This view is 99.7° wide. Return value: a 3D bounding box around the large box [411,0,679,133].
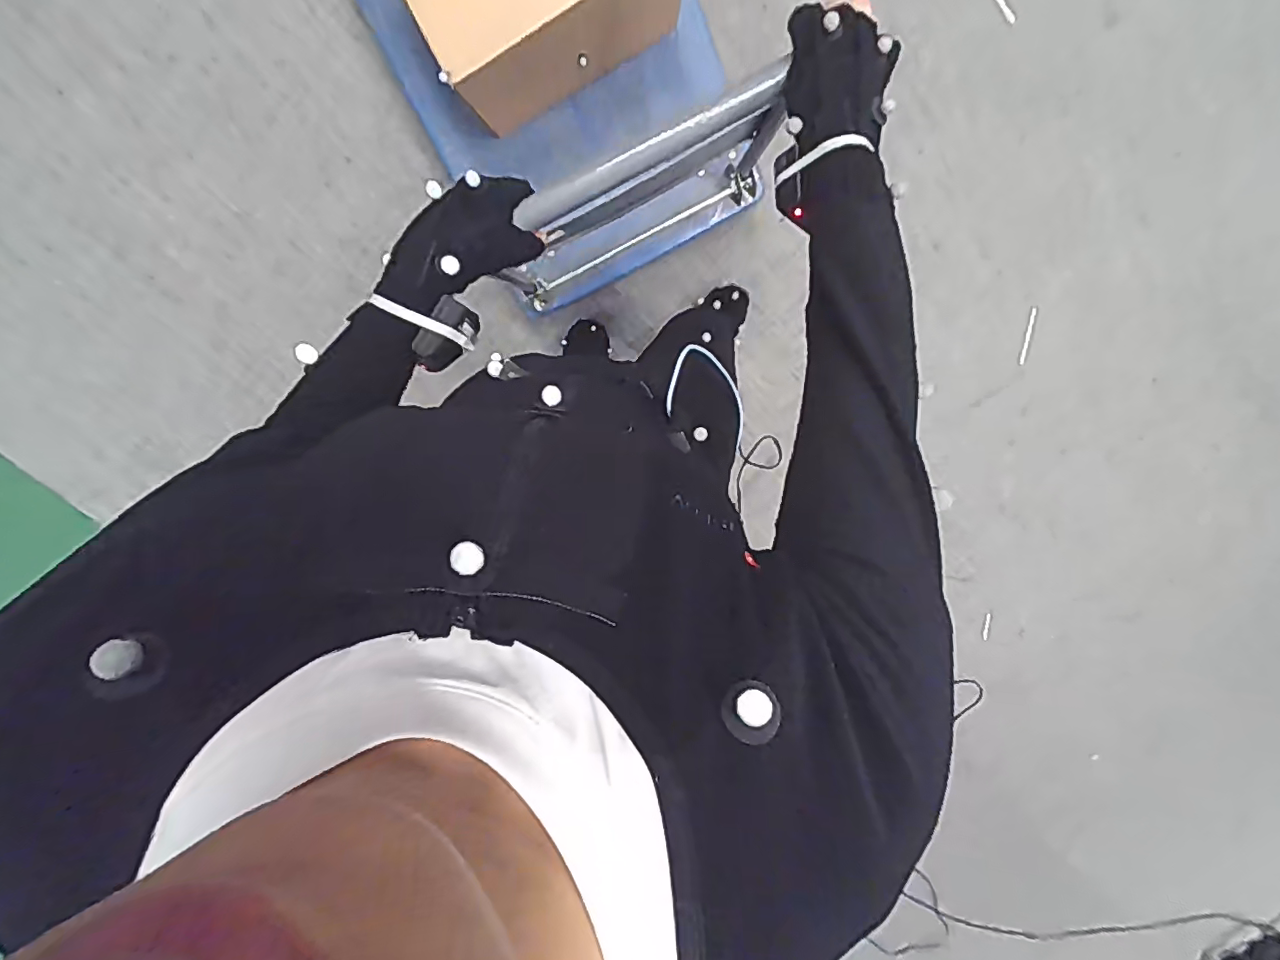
[{"bbox_3d":[-0.170,-0.854,0.869,0.408,0.320,0.320,-27,107,9],"label":"large box"}]
